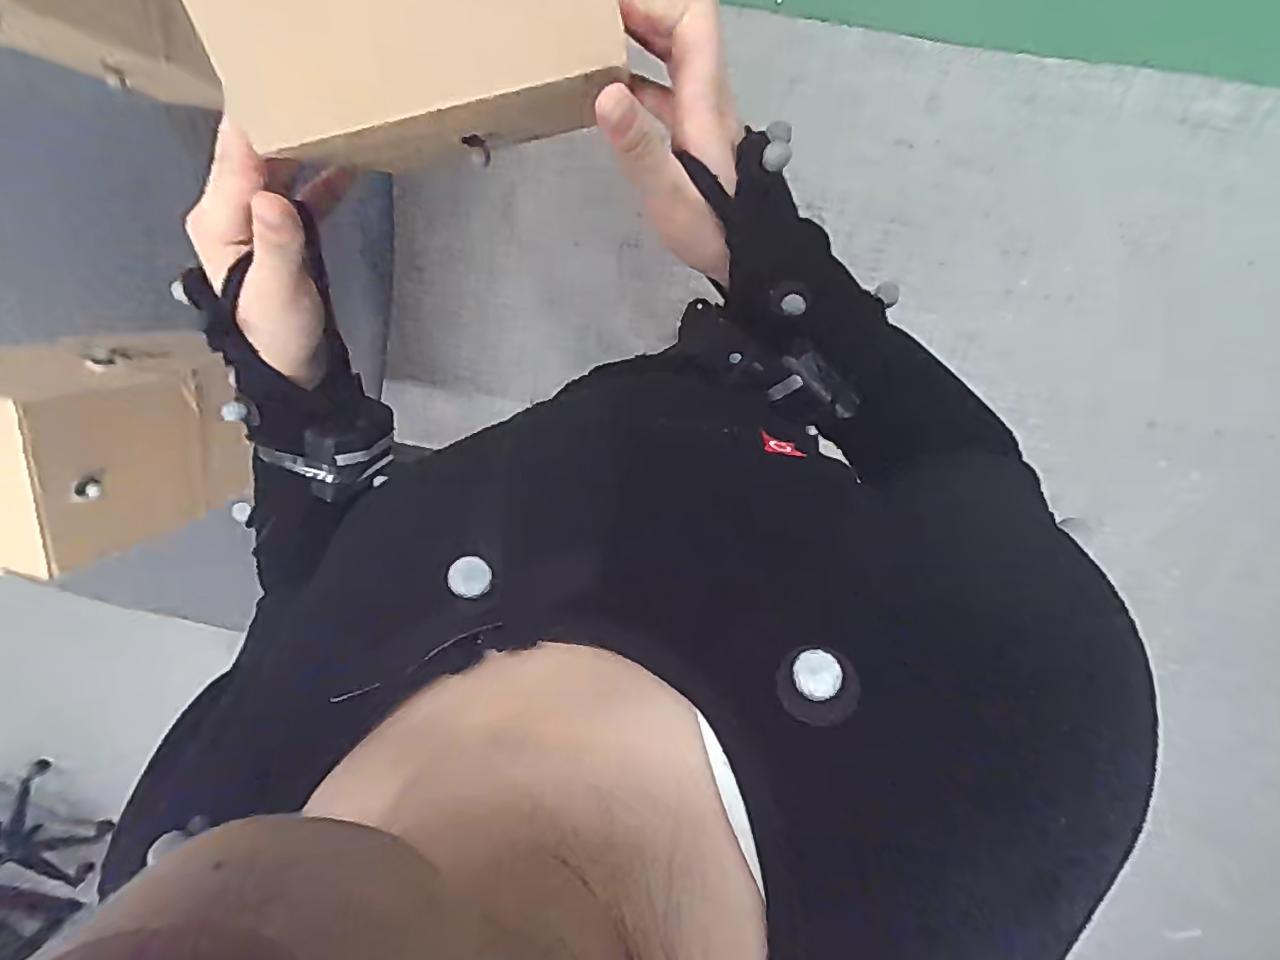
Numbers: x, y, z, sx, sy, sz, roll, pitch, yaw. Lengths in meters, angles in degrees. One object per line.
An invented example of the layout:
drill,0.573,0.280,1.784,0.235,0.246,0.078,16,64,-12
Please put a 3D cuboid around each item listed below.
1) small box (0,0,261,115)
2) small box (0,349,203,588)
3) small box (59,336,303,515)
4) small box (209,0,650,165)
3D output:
small box,-0.493,-0.491,0.541,0.179,0.176,0.168,12,110,4
small box,-0.586,-0.023,0.544,0.168,0.176,0.179,13,110,2
small box,-0.568,-0.080,0.695,0.168,0.176,0.179,12,111,4
small box,-0.092,-0.262,0.255,0.168,0.176,0.179,-11,118,2
